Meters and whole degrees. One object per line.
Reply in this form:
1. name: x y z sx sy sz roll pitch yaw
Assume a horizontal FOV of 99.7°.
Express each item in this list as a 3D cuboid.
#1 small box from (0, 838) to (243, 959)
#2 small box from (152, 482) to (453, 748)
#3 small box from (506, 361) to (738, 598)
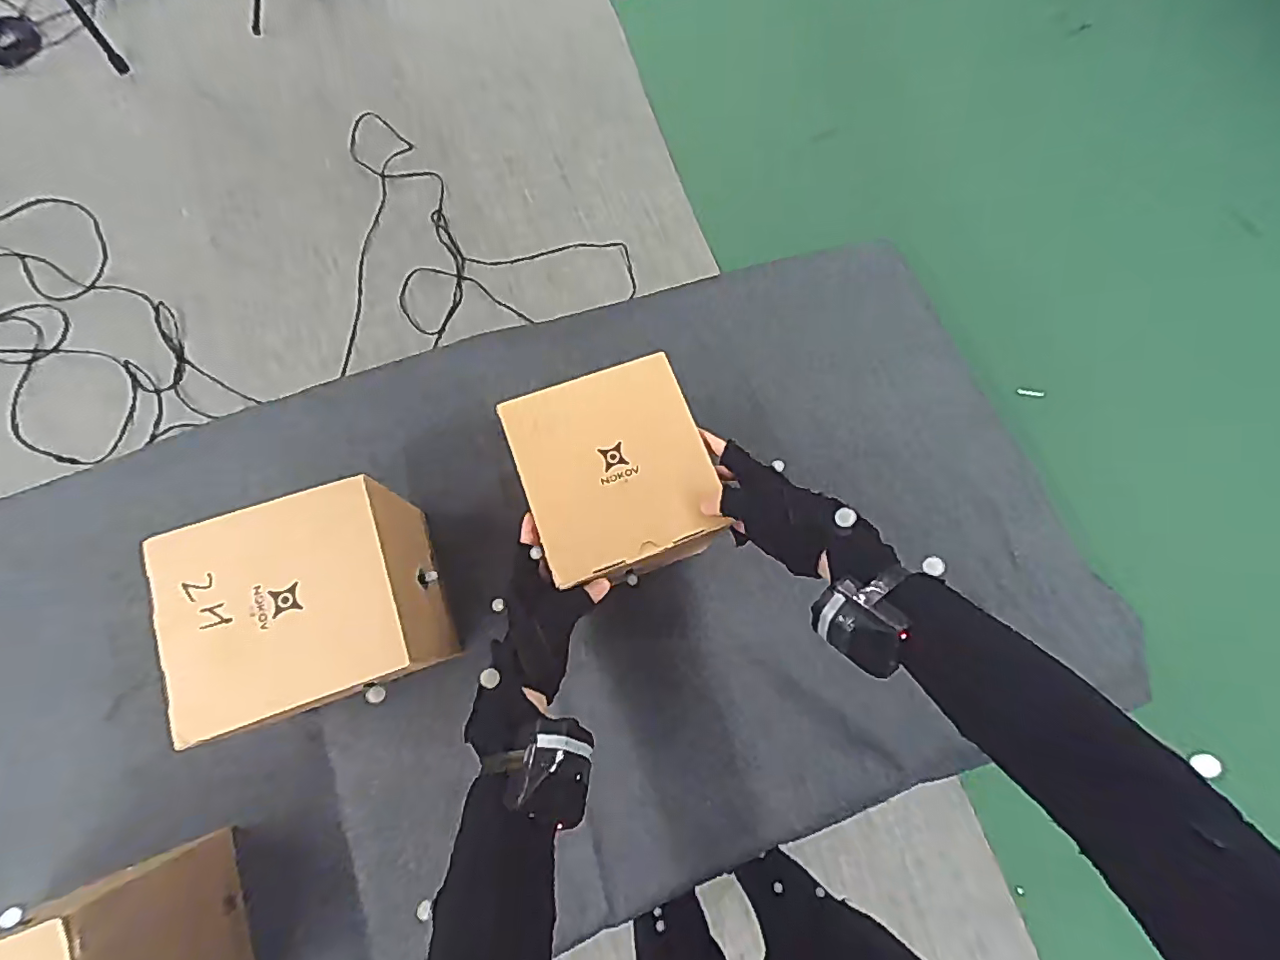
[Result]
1. small box: -0.439 0.414 0.411 0.179 0.176 0.168 -19 76 -9
2. small box: -0.288 0.118 0.503 0.179 0.176 0.168 -17 77 -9
3. small box: -0.025 0.010 0.557 0.168 0.176 0.179 -19 77 -9
